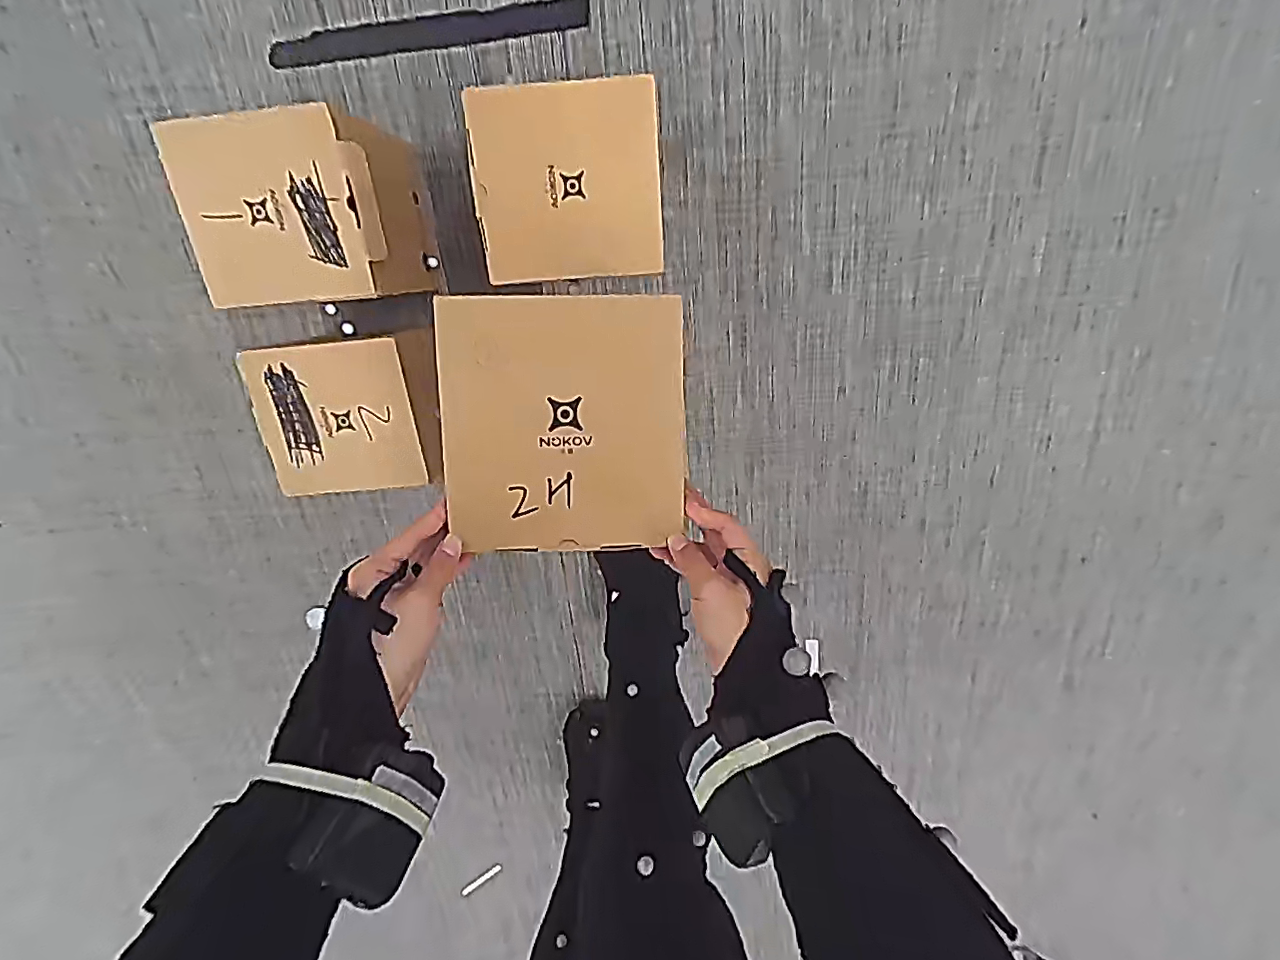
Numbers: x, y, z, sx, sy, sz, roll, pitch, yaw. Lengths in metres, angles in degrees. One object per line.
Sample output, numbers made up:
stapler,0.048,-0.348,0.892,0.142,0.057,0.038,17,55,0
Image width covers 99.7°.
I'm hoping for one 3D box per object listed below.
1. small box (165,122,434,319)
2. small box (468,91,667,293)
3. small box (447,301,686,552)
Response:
small box,-0.347,-0.278,0.600,0.179,0.176,0.168,-4,111,3
small box,-0.064,-0.299,0.588,0.179,0.176,0.168,-3,111,3
small box,-0.054,-0.046,0.459,0.168,0.176,0.179,-1,98,-2
